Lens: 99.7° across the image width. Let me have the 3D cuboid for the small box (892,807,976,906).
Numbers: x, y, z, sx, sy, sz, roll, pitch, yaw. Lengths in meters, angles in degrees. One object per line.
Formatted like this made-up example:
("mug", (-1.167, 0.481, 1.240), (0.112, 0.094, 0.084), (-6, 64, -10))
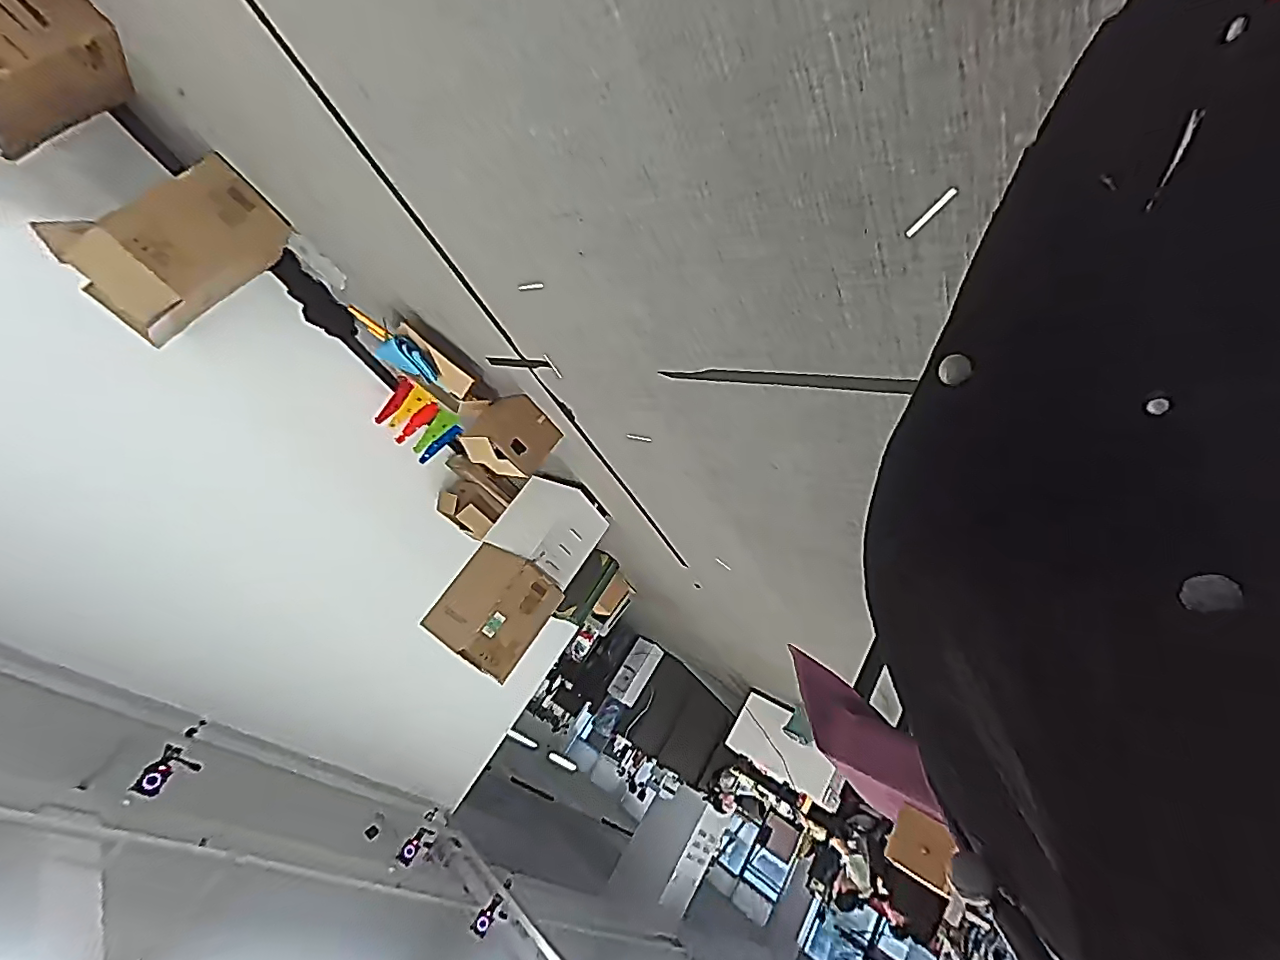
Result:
("small box", (0.903, 1.143, 1.650), (0.179, 0.176, 0.168), (9, 146, 47))
